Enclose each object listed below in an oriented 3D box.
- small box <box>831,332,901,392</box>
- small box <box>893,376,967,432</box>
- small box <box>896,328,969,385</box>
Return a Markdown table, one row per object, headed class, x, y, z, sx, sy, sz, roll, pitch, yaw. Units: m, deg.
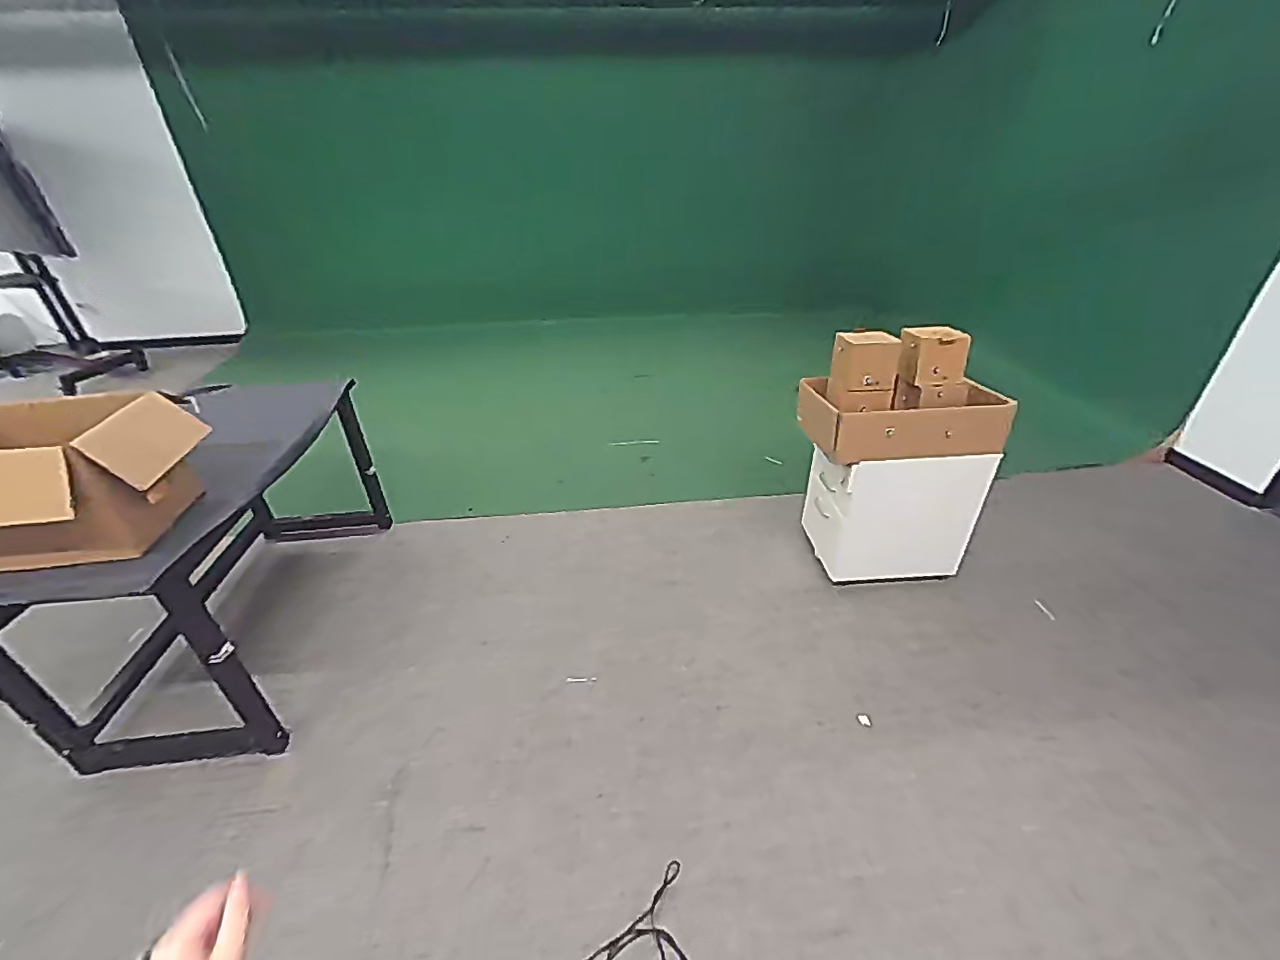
| class | x | y | z | sx | sy | sz | roll | pitch | yaw |
| --- | --- | --- | --- | --- | --- | --- | --- | --- | --- |
| small box | 0.784 | -0.415 | 1.897 | 0.168 | 0.176 | 0.179 | -3 | 28 | -1 |
| small box | 1.053 | -0.283 | 1.980 | 0.168 | 0.176 | 0.179 | -5 | 27 | -1 |
| small box | 1.035 | -0.442 | 1.933 | 0.168 | 0.176 | 0.179 | -2 | 27 | 2 |
